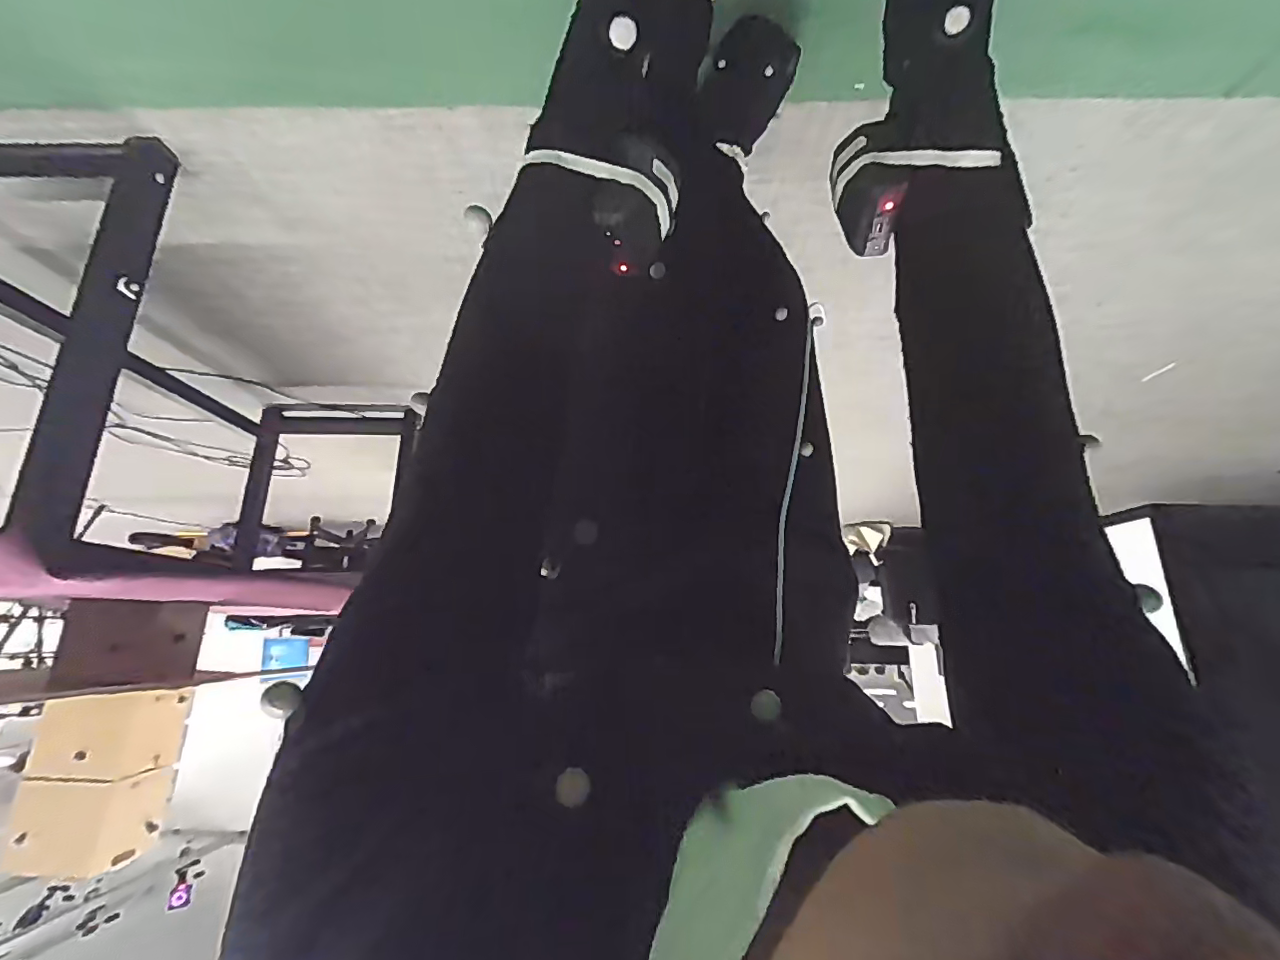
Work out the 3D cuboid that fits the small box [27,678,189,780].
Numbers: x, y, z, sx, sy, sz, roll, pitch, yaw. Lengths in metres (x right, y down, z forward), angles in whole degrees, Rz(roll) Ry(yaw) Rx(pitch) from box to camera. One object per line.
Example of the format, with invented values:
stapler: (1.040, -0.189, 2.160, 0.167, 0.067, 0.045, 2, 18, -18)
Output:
small box: (-1.110, 0.520, 1.149, 0.179, 0.176, 0.168, 4, 164, -1)
